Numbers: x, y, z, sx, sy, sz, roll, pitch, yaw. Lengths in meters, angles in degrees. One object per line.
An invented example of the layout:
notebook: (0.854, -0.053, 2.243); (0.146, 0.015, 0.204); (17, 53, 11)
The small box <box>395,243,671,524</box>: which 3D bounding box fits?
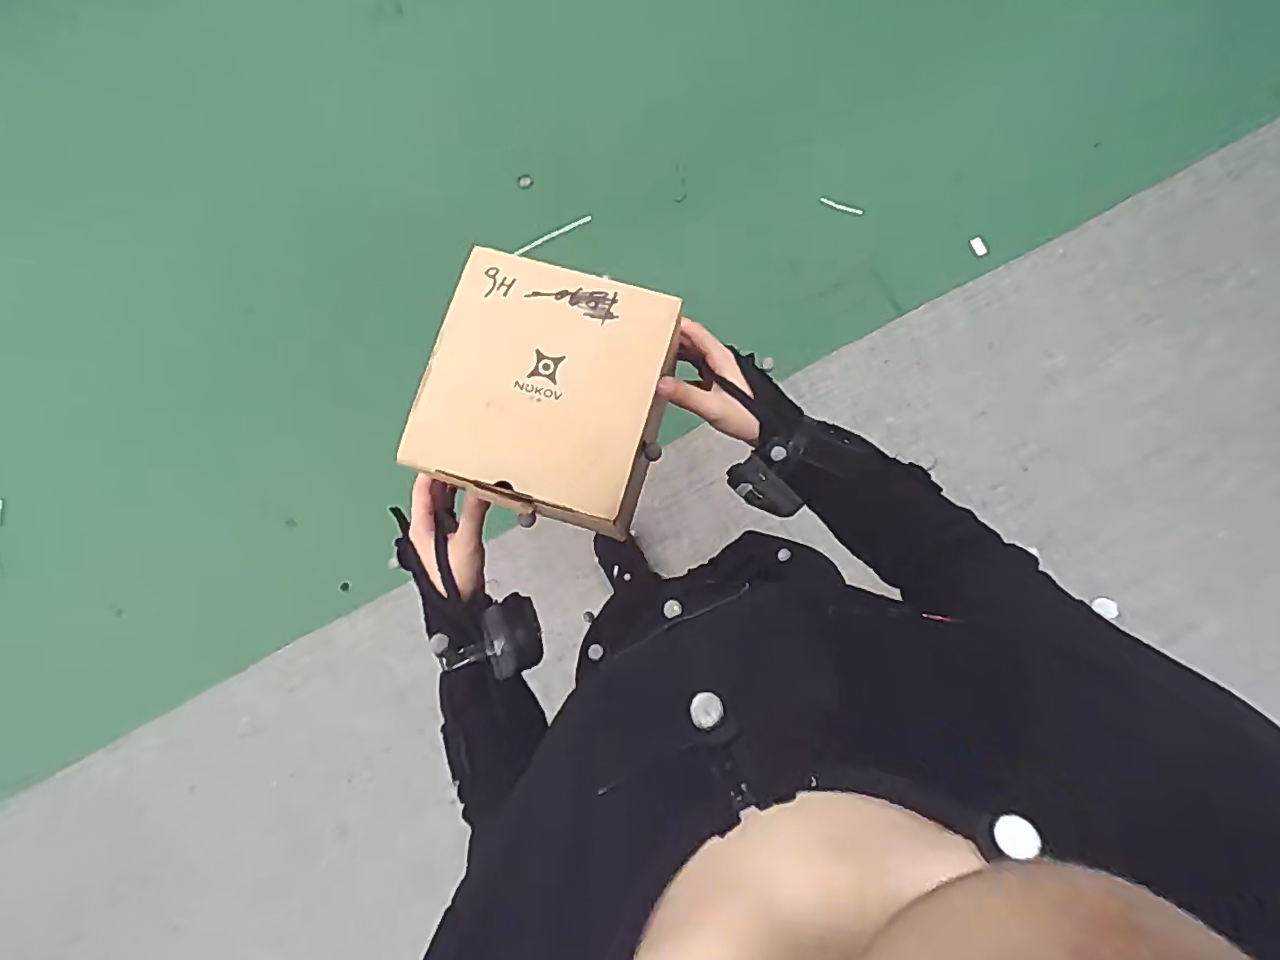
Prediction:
small box: (-0.074, -0.066, 0.472); (0.168, 0.176, 0.179); (16, 83, 4)
